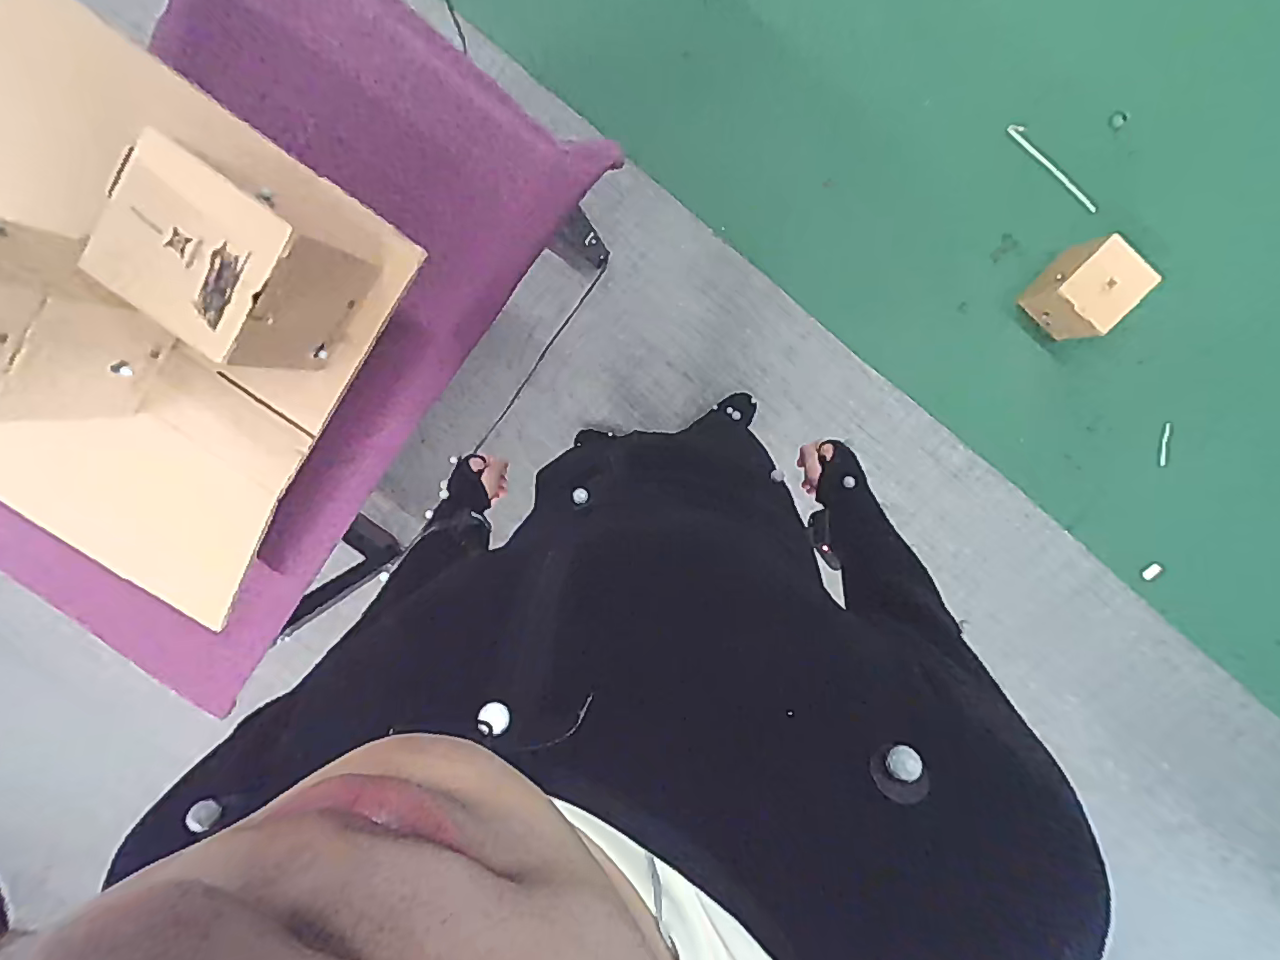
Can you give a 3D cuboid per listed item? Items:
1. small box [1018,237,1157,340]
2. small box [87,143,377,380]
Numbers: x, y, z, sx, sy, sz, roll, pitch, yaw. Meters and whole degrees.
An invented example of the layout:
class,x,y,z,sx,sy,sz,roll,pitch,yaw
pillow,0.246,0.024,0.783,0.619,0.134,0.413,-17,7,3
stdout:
class,x,y,z,sx,sy,sz,roll,pitch,yaw
small box,1.130,-0.480,1.382,0.168,0.176,0.179,40,101,-4
small box,-0.448,-0.232,0.626,0.179,0.176,0.168,36,99,-3
